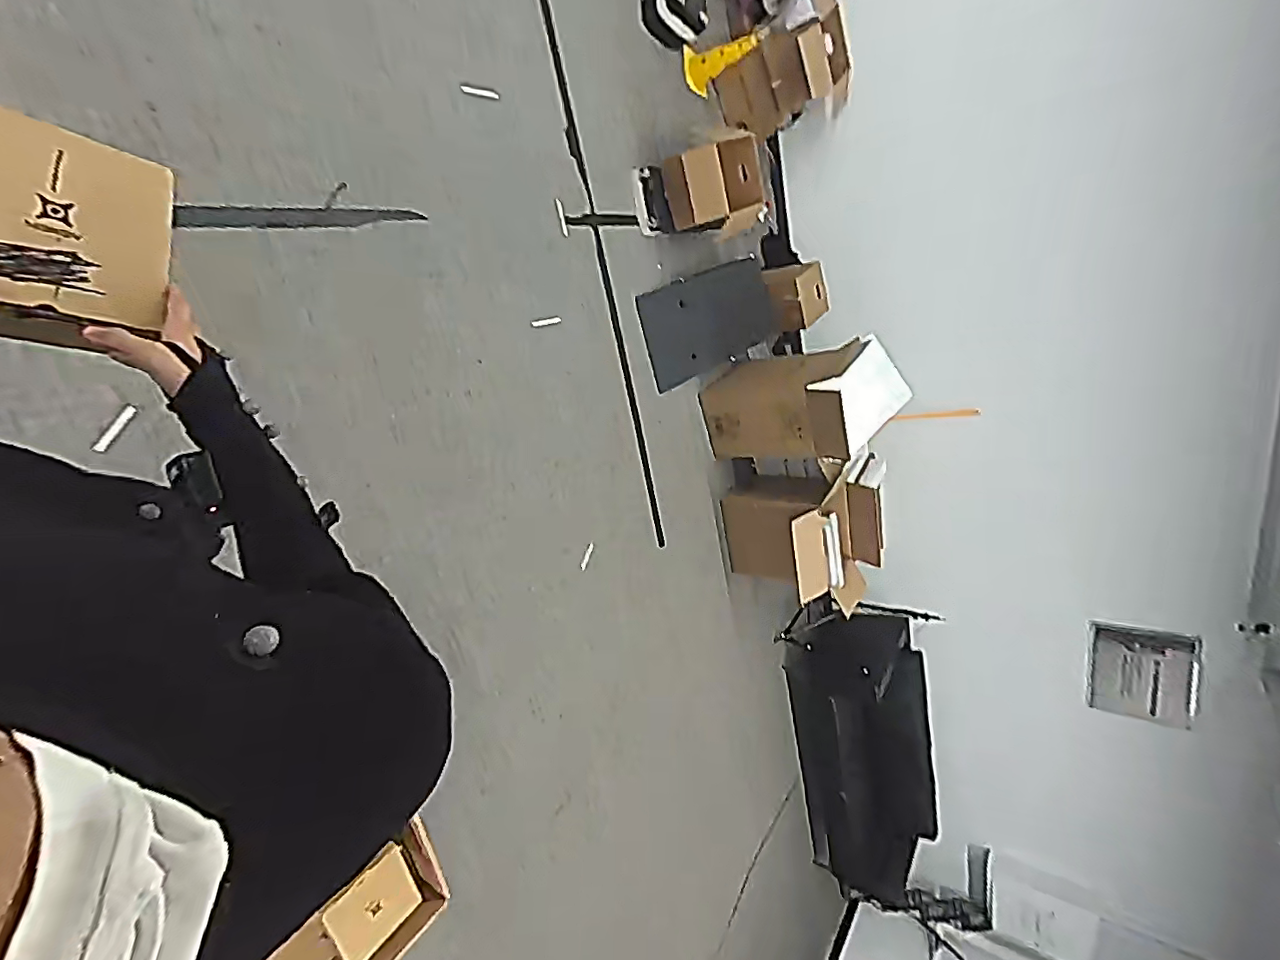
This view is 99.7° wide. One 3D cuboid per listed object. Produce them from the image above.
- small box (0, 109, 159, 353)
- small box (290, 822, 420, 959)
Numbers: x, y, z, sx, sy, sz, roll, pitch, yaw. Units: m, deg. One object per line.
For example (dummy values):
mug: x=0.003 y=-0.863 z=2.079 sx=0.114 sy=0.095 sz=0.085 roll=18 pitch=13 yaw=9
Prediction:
small box: x=-0.603 y=-0.235 z=0.535 sx=0.168 sy=0.176 sz=0.179 roll=2 pitch=87 yaw=-50
small box: x=-0.618 y=0.896 z=1.175 sx=0.168 sy=0.176 sz=0.179 roll=-33 pitch=117 yaw=-47
